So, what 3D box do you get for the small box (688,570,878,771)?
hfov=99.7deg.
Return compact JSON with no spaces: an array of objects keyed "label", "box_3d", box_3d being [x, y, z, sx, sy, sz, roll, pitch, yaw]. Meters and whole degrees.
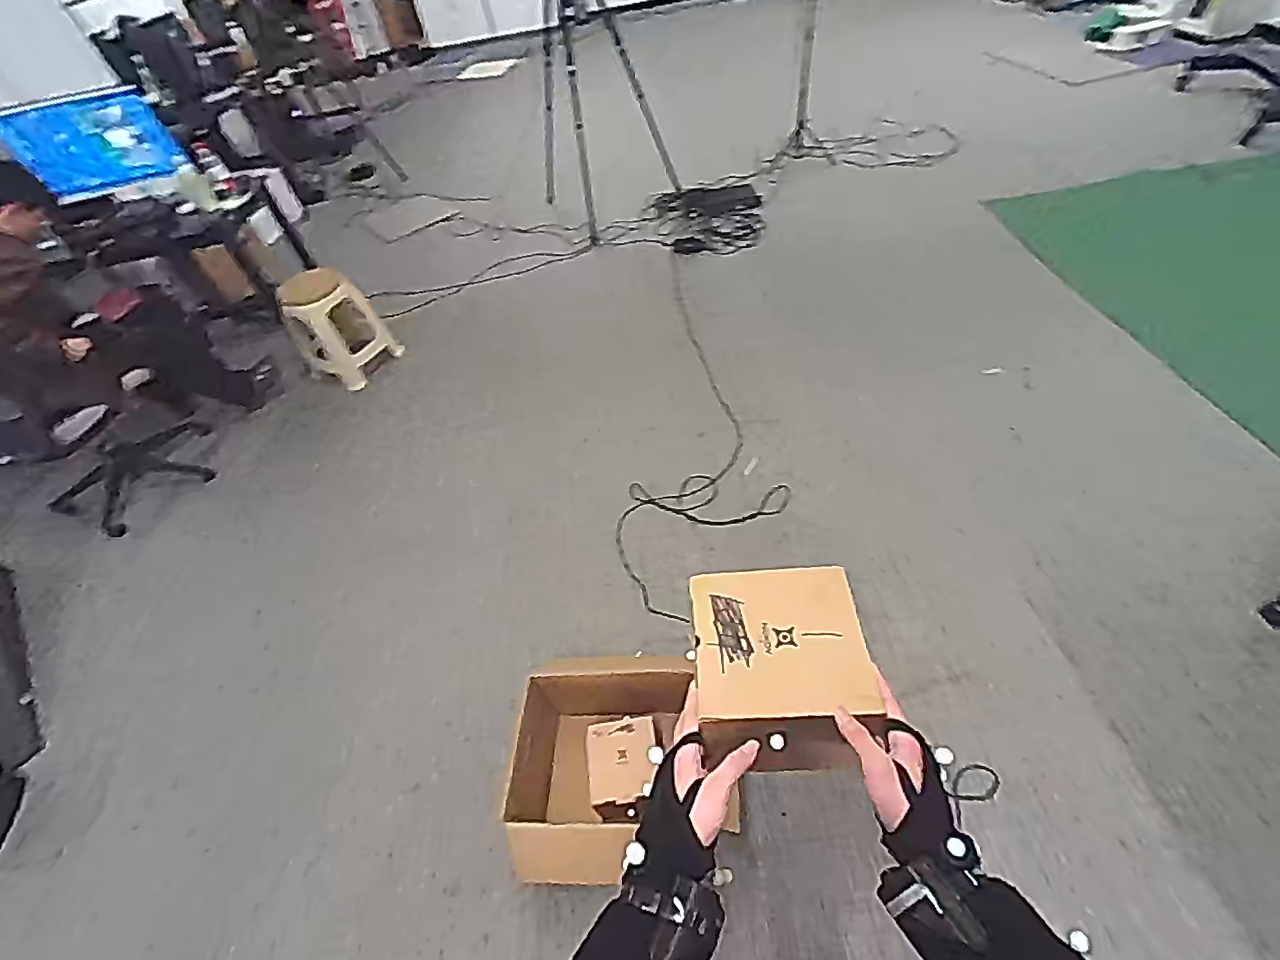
[{"label":"small box","box_3d":[0.151,0.218,0.613,0.179,0.176,0.168,-3,48,9]}]
